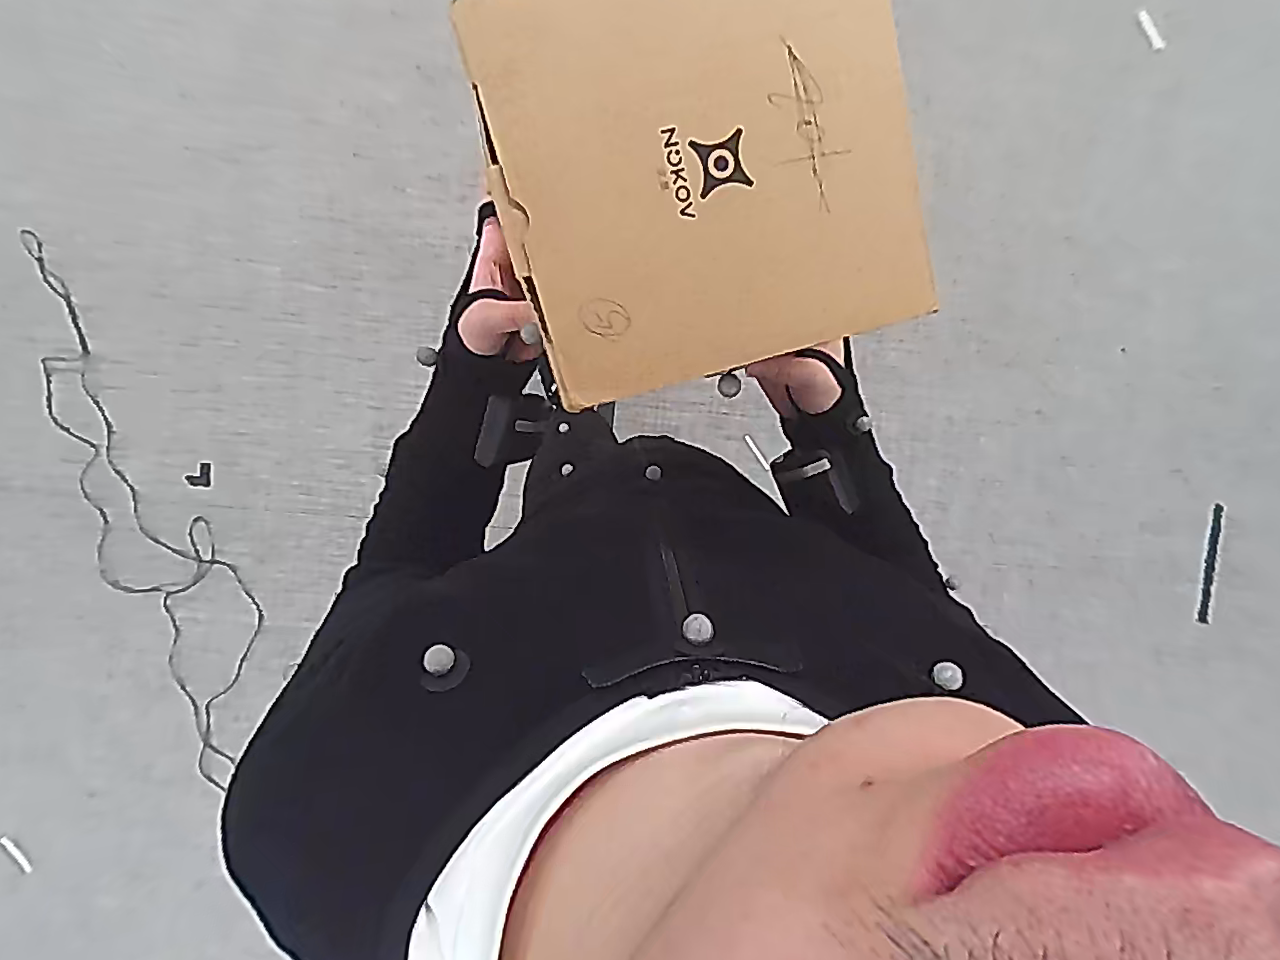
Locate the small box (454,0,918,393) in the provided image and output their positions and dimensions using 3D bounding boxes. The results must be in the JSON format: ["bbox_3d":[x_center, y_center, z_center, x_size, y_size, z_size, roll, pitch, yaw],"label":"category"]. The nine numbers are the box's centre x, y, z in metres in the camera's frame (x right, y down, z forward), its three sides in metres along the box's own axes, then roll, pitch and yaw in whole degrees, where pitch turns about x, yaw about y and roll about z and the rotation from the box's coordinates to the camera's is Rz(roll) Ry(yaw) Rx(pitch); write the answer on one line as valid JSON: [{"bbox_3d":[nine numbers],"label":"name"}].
[{"bbox_3d":[0.020,-0.151,0.315,0.179,0.176,0.168,-17,102,-3],"label":"small box"}]
